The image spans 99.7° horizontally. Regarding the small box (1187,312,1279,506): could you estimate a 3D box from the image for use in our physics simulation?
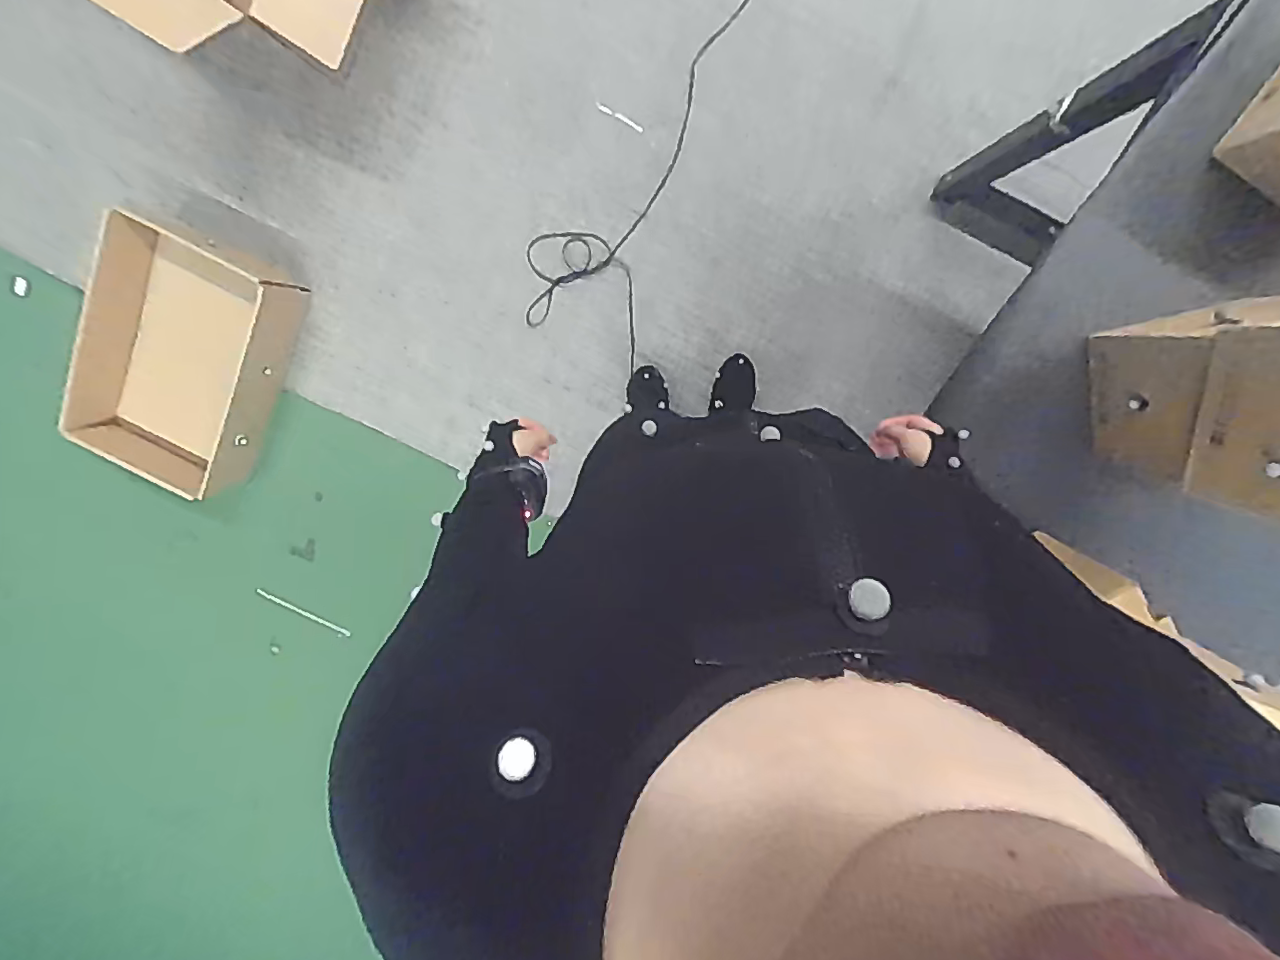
[{"bbox_3d":[0.625,-0.057,0.447,0.179,0.176,0.168,-2,105,3],"label":"small box"}]

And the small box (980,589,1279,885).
[{"bbox_3d":[0.487,0.230,0.524,0.179,0.176,0.168,21,103,-2],"label":"small box"}]

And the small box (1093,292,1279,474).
[{"bbox_3d":[0.648,-0.108,0.600,0.179,0.176,0.168,-13,104,6],"label":"small box"}]
